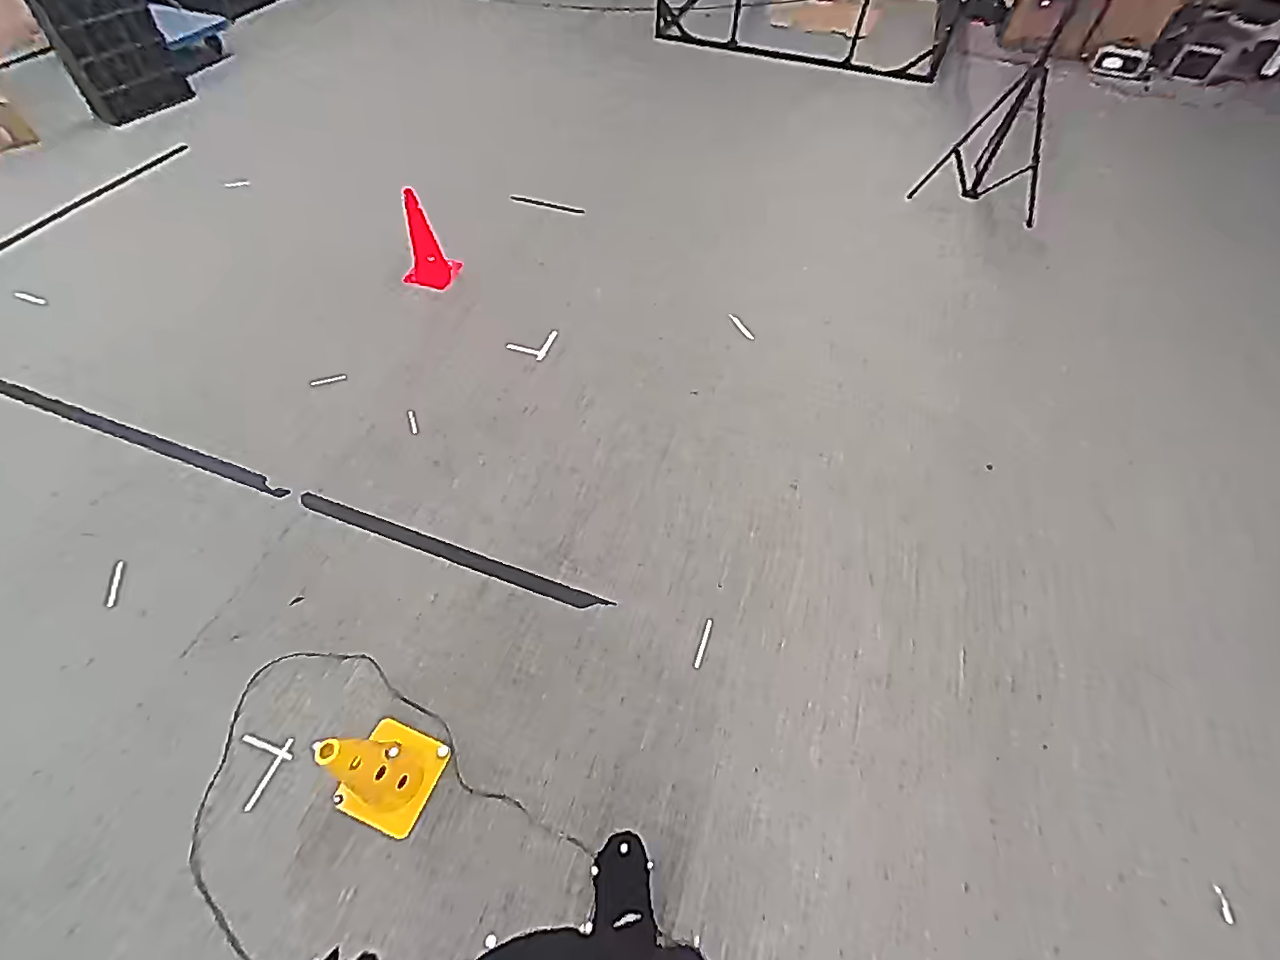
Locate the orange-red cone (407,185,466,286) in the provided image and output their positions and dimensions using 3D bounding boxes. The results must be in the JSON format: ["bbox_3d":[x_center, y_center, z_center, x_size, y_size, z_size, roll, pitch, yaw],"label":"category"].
[{"bbox_3d":[-0.873,-1.006,2.193,0.199,0.360,0.198,13,55,8],"label":"orange-red cone"}]
